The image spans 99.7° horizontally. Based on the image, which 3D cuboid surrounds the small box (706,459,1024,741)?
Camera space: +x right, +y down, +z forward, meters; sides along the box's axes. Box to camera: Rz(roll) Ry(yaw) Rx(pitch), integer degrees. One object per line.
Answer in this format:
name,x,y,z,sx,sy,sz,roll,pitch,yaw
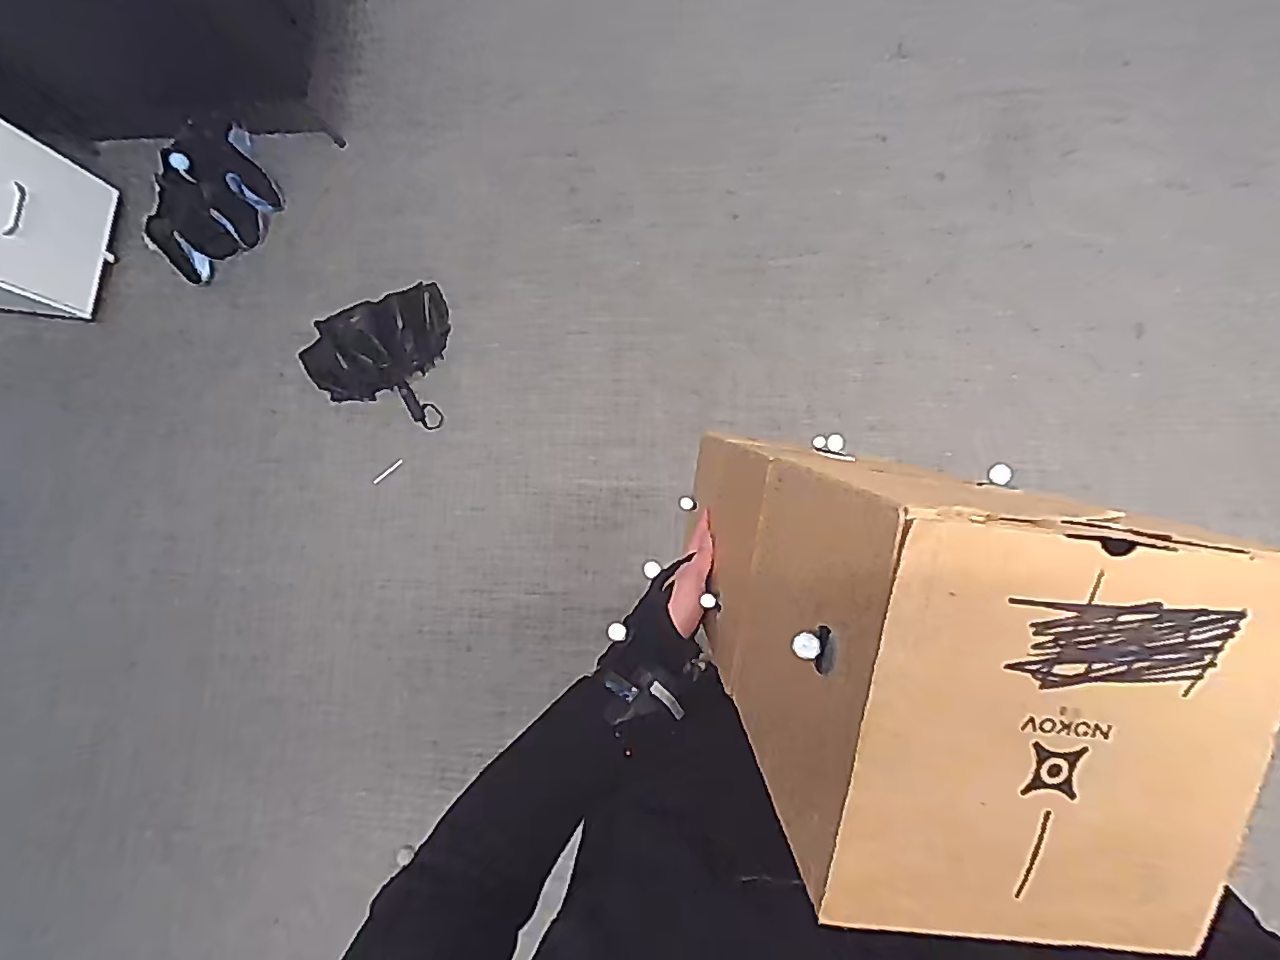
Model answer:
small box,0.151,0.085,0.429,0.168,0.176,0.179,6,97,-3
